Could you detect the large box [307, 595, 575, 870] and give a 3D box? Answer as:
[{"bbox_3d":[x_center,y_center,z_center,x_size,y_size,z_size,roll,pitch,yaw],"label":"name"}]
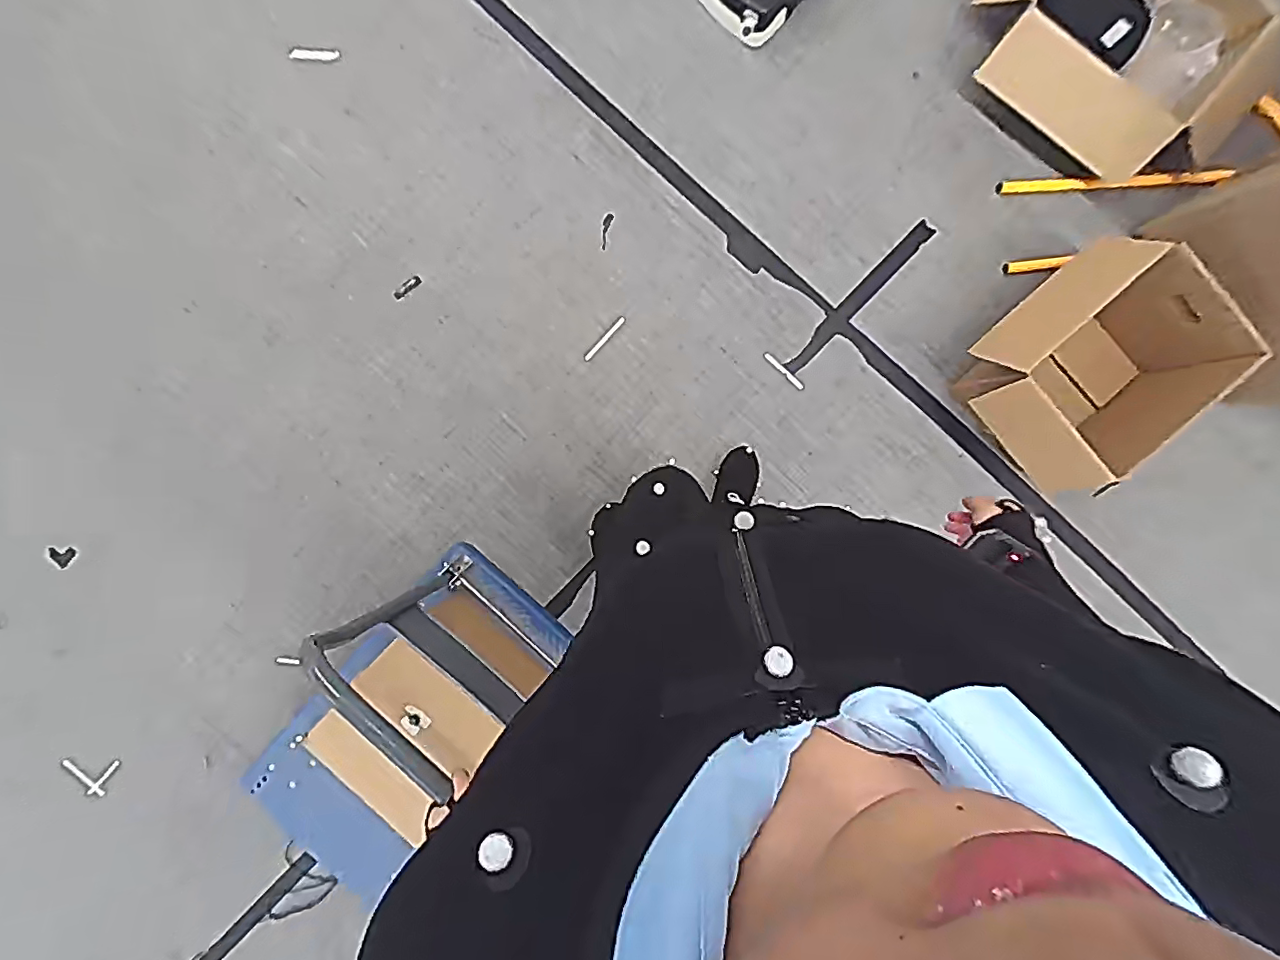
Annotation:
[{"bbox_3d":[-0.410,0.532,1.214,0.408,0.320,0.320,43,93,0],"label":"large box"}]
